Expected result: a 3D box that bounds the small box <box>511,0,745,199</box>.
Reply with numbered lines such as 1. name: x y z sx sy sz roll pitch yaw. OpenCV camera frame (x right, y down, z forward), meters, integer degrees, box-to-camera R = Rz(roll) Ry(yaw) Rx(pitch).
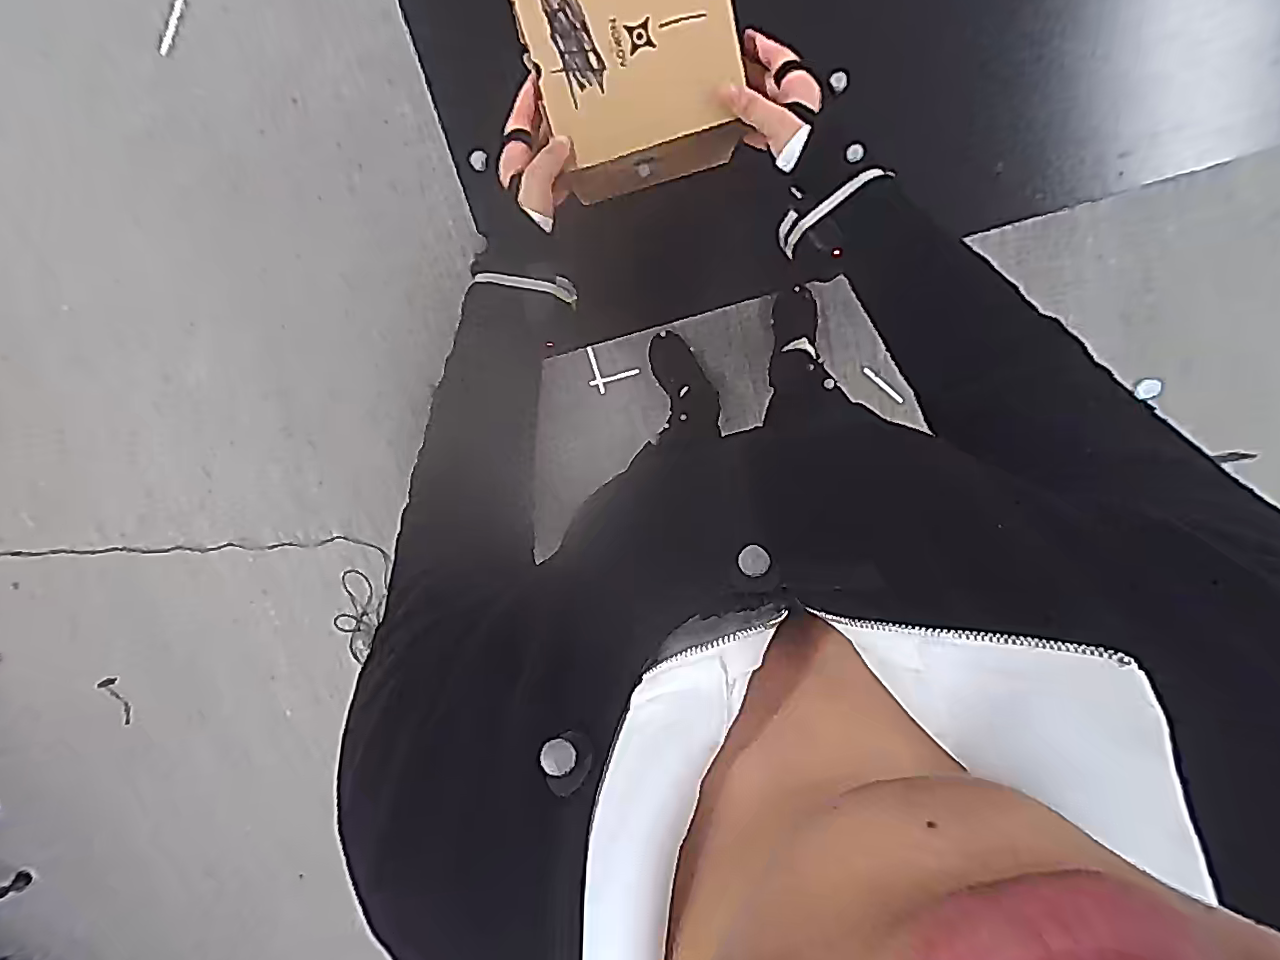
1. small box: -0.008 -0.397 0.533 0.179 0.176 0.168 -14 108 5
